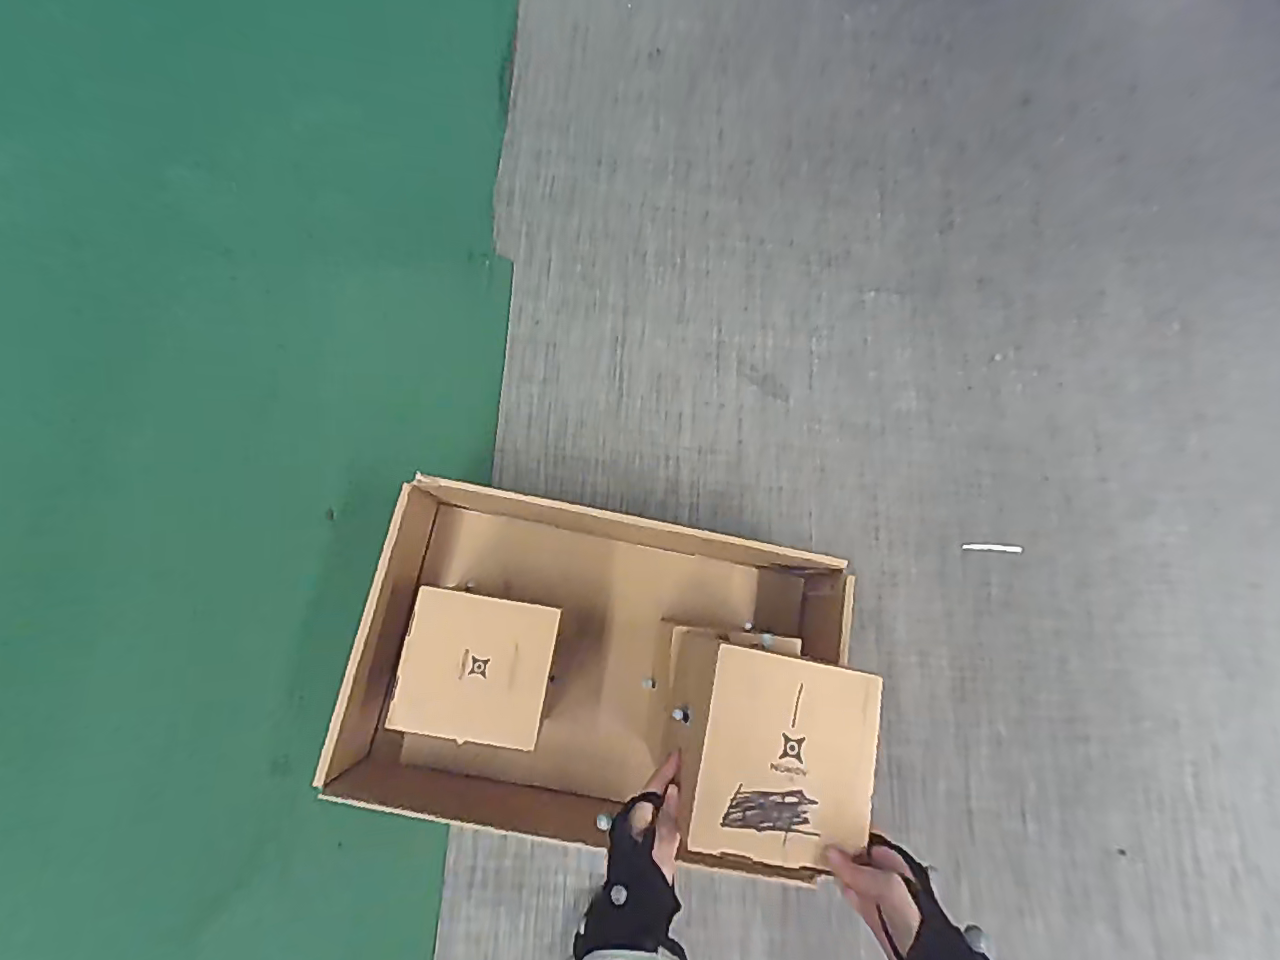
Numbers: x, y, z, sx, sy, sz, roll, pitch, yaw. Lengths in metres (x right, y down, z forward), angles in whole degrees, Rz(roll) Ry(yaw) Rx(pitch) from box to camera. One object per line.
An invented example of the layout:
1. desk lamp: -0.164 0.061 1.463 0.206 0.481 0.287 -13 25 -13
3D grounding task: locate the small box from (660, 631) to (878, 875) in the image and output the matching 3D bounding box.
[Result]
1. small box: 0.121 0.265 0.567 0.168 0.176 0.179 12 76 -4

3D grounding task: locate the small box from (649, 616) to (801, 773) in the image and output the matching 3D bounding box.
1. small box: 0.105 0.286 0.732 0.168 0.176 0.179 7 78 -3
